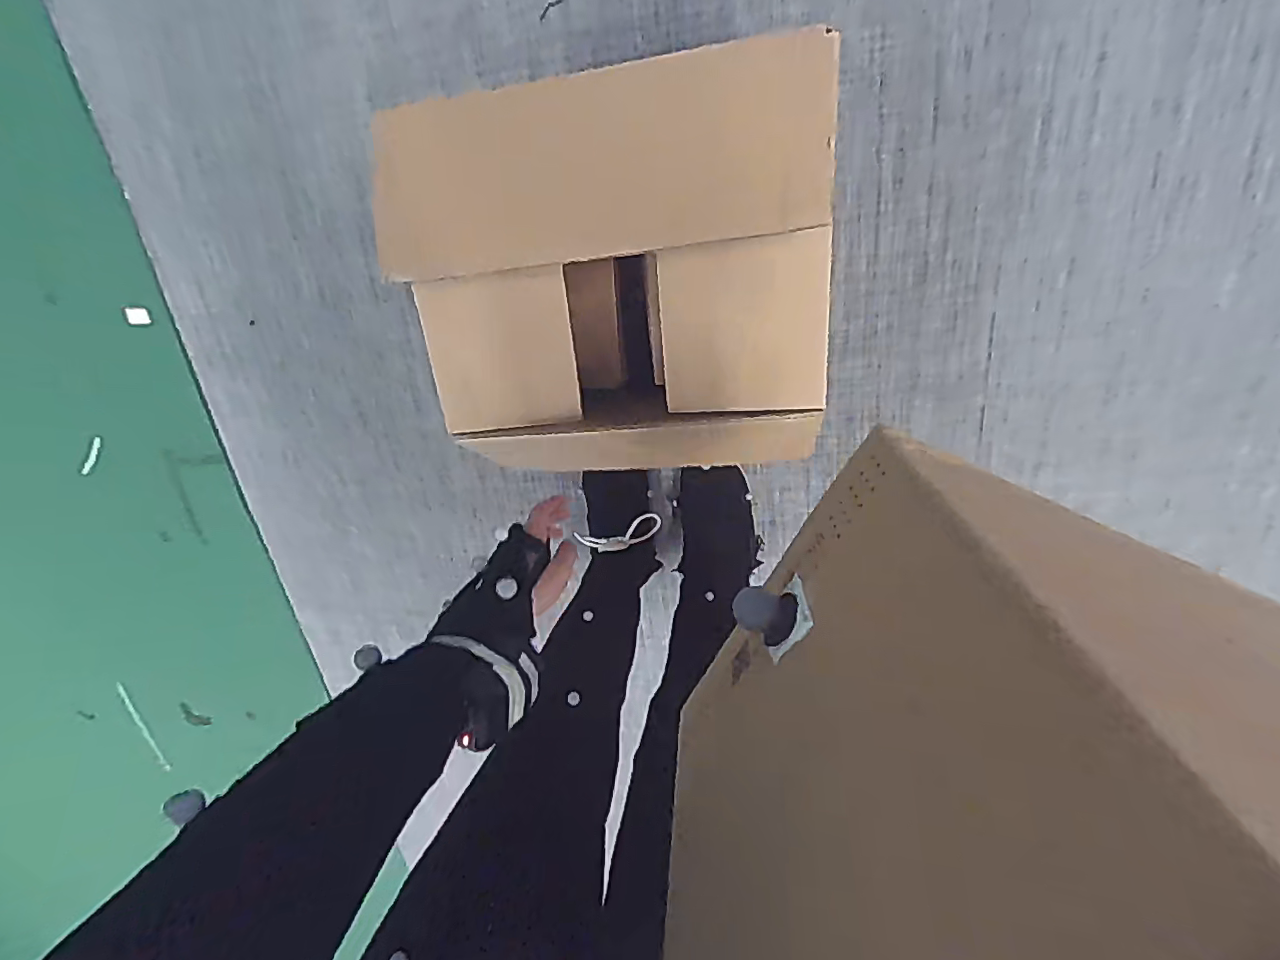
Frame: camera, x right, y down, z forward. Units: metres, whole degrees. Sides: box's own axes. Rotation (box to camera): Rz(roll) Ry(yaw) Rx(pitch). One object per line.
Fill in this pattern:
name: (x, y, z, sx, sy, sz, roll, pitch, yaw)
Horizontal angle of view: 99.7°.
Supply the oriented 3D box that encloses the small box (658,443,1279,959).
small box: (0.119, 0.109, 0.168, 0.179, 0.176, 0.168, 24, 114, -2)
